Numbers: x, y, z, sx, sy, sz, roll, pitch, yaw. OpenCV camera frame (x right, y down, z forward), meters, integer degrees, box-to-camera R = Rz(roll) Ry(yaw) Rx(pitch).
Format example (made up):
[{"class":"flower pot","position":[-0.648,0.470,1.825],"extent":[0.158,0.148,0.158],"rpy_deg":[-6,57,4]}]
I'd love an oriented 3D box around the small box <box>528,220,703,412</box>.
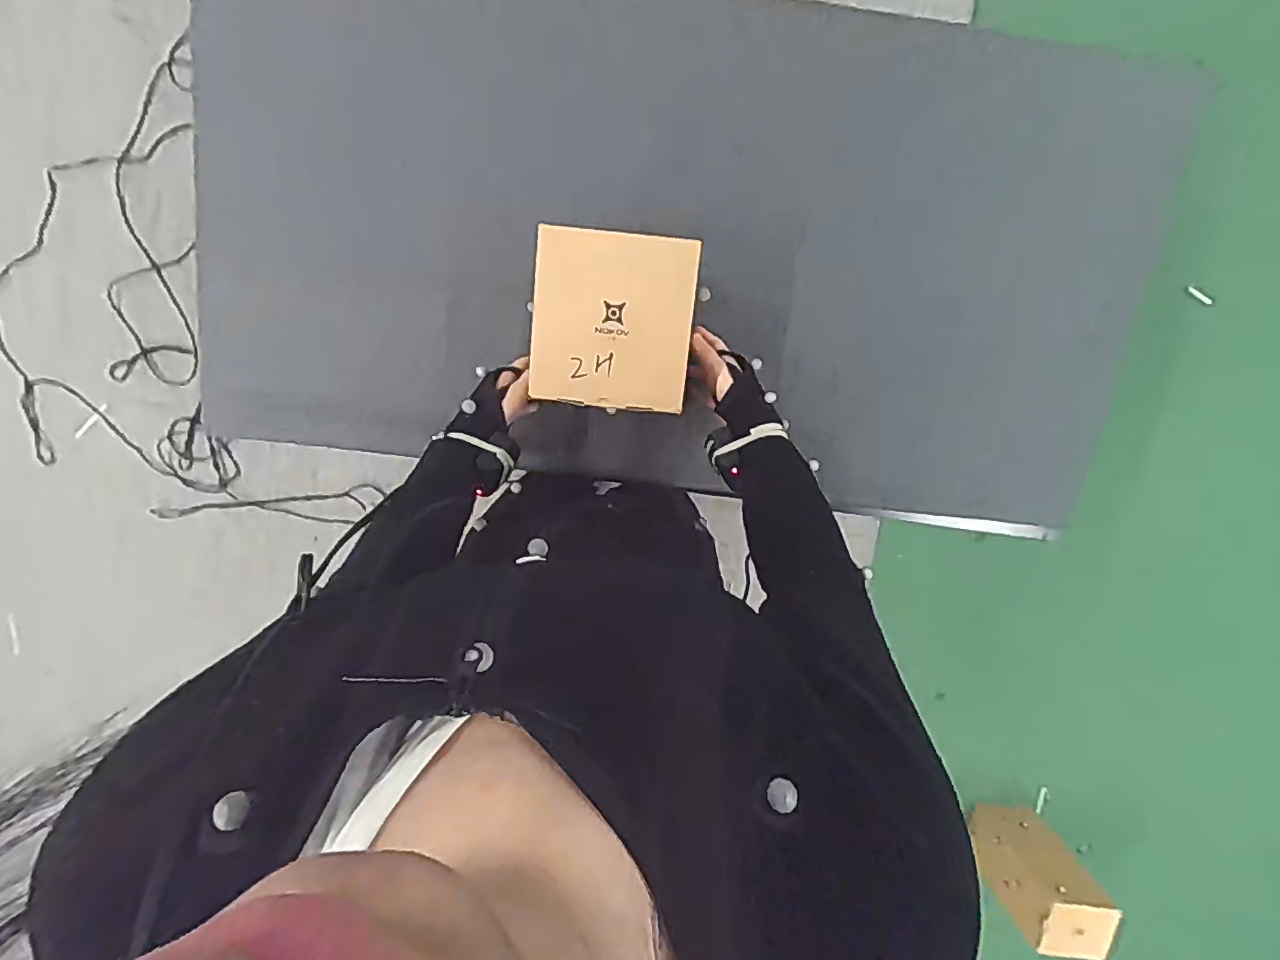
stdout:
[{"class":"small box","position":[-0.026,-0.178,0.628],"extent":[0.168,0.176,0.179],"rpy_deg":[6,101,1]}]

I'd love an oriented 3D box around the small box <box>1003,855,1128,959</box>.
[{"class":"small box","position":[1.114,1.133,1.428],"extent":[0.179,0.176,0.168],"rpy_deg":[6,101,0]}]
